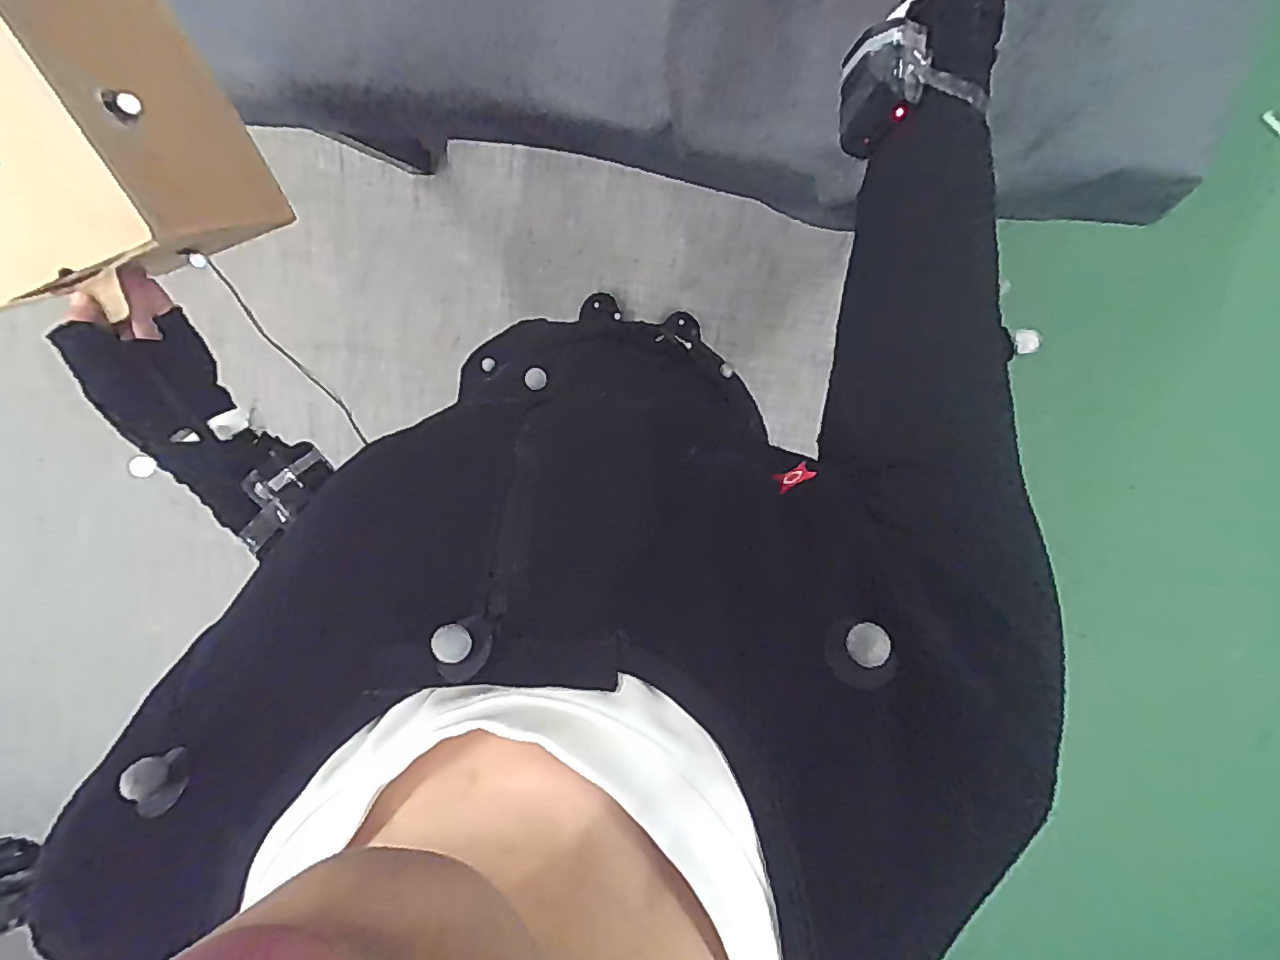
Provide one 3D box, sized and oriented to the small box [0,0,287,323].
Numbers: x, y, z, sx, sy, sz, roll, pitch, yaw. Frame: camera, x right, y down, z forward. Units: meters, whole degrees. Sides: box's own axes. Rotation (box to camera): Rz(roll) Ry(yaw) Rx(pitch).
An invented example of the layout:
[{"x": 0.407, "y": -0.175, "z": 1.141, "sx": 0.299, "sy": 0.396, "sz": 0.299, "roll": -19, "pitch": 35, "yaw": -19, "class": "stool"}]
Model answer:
[{"x": -0.424, "y": -0.245, "z": 0.411, "sx": 0.168, "sy": 0.176, "sz": 0.179, "roll": -15, "pitch": 118, "yaw": 11, "class": "small box"}]
